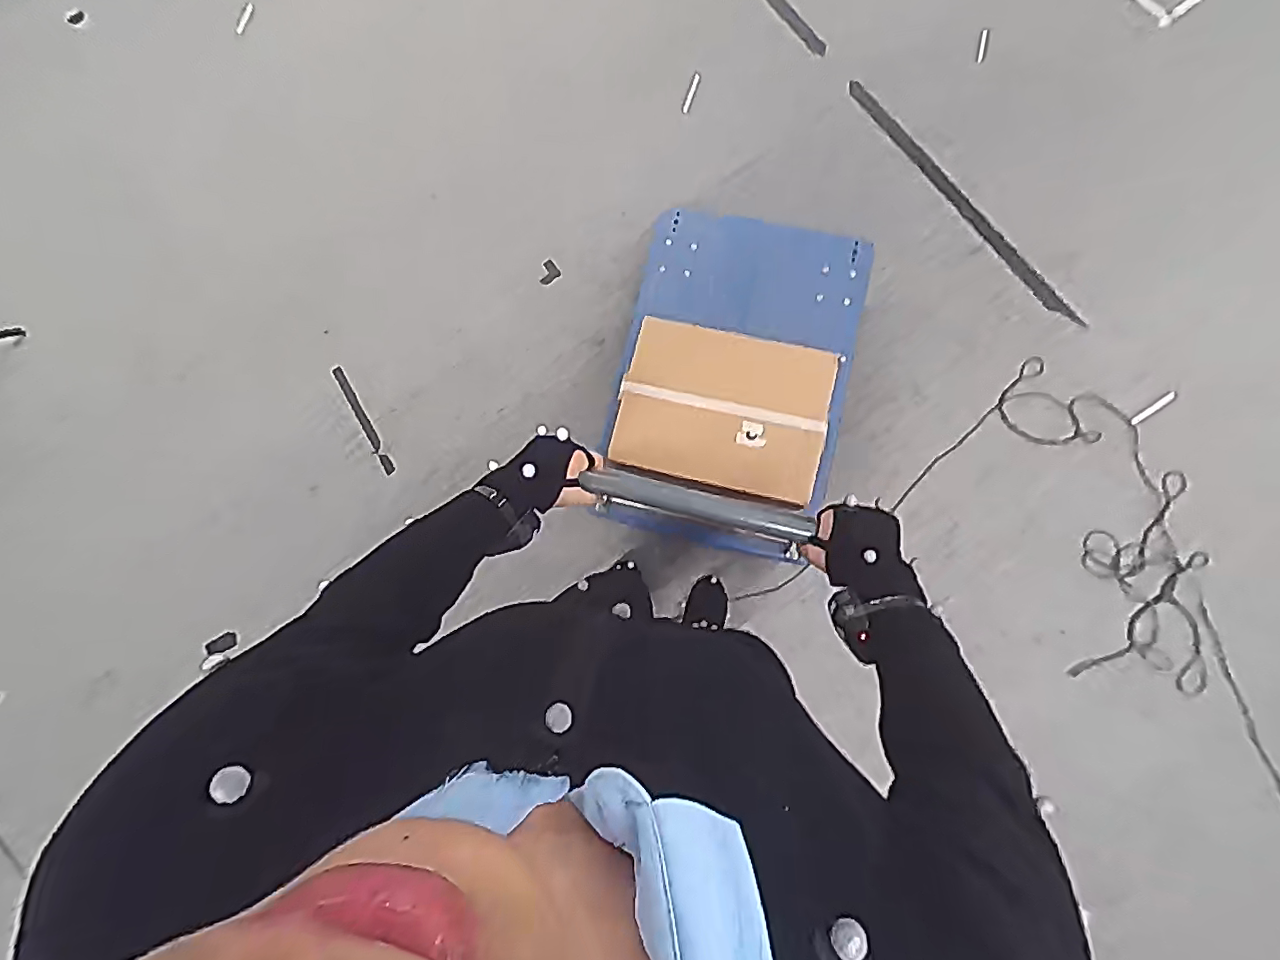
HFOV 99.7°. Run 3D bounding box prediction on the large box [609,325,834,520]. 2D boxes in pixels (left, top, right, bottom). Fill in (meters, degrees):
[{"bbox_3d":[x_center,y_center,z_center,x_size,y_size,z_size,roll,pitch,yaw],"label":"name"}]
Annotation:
[{"bbox_3d":[0.170,-0.111,1.224,0.408,0.320,0.320,13,83,6],"label":"large box"}]
